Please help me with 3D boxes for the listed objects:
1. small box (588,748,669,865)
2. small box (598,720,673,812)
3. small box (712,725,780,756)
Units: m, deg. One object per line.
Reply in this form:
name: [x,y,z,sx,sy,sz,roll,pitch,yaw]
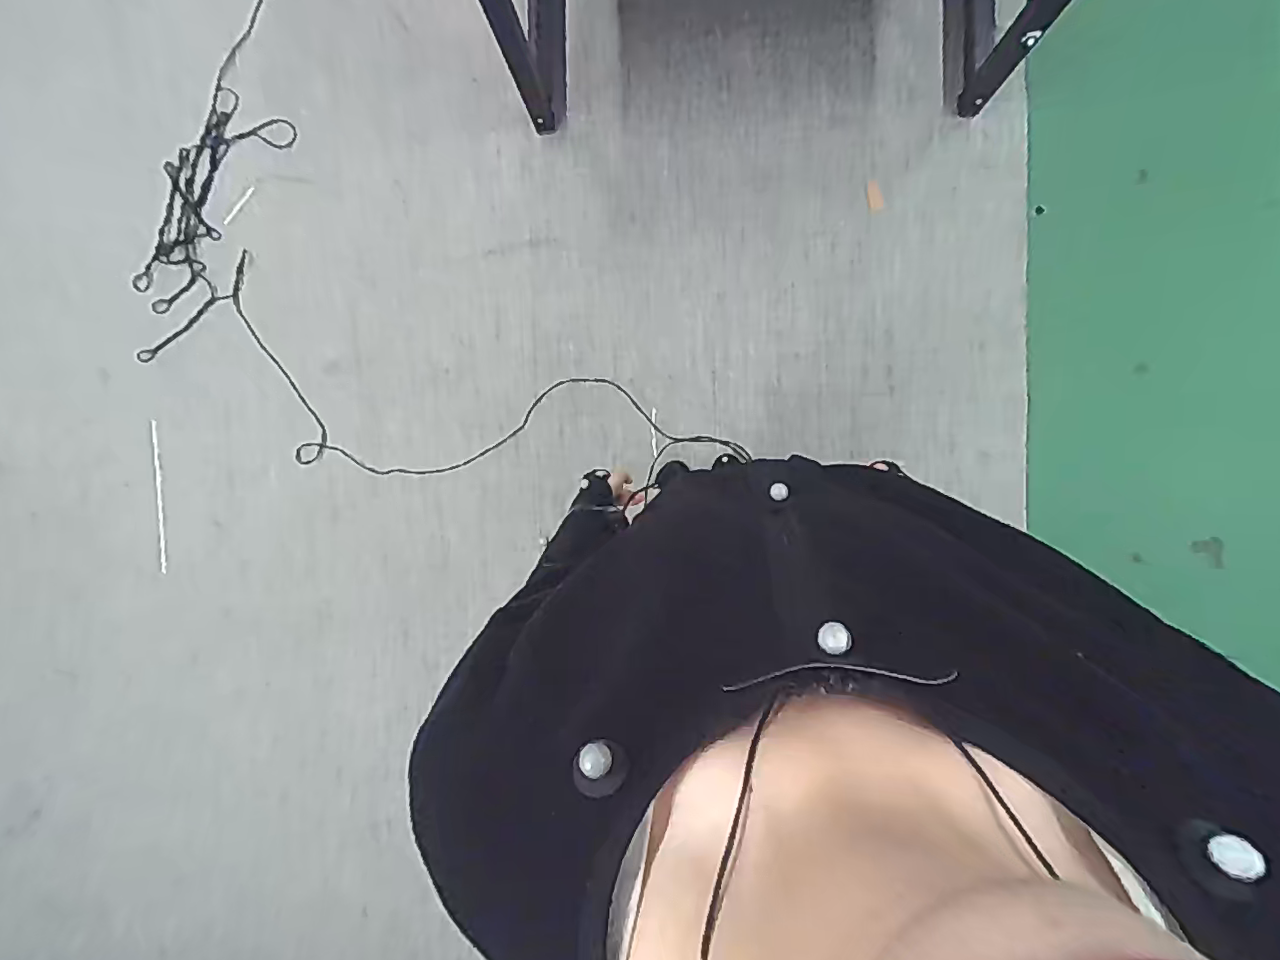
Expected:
small box: [-0.021,0.756,1.263,0.168,0.176,0.179,-5,91,5]
small box: [-0.007,0.751,1.427,0.179,0.176,0.168,-4,90,5]
small box: [0.275,0.748,1.392,0.168,0.176,0.179,-6,90,8]
